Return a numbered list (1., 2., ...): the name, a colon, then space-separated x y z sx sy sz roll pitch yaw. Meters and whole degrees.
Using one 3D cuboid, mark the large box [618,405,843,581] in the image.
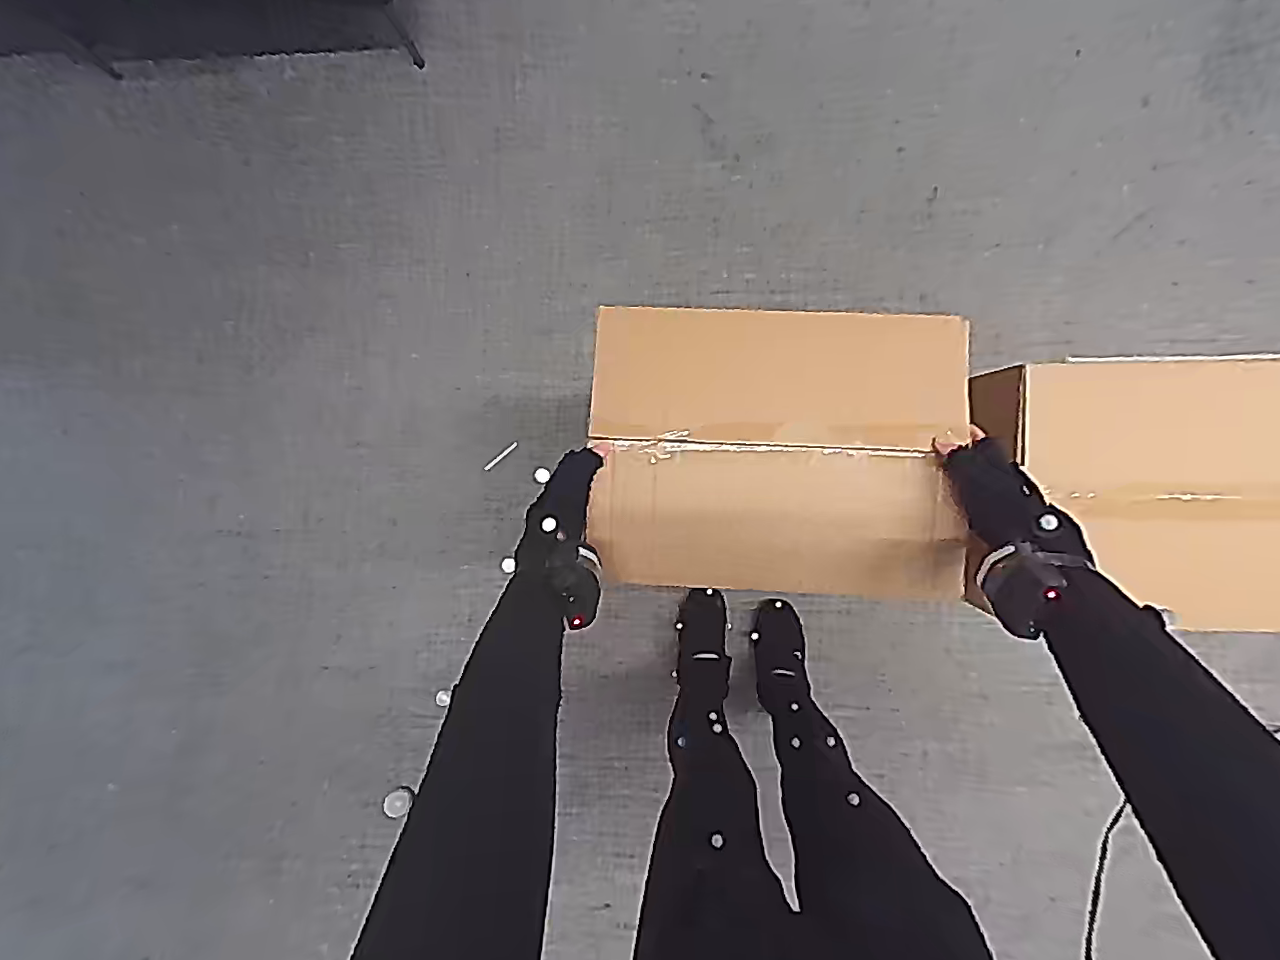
1. large box: 0.174 0.028 1.115 0.408 0.320 0.320 0 87 6
